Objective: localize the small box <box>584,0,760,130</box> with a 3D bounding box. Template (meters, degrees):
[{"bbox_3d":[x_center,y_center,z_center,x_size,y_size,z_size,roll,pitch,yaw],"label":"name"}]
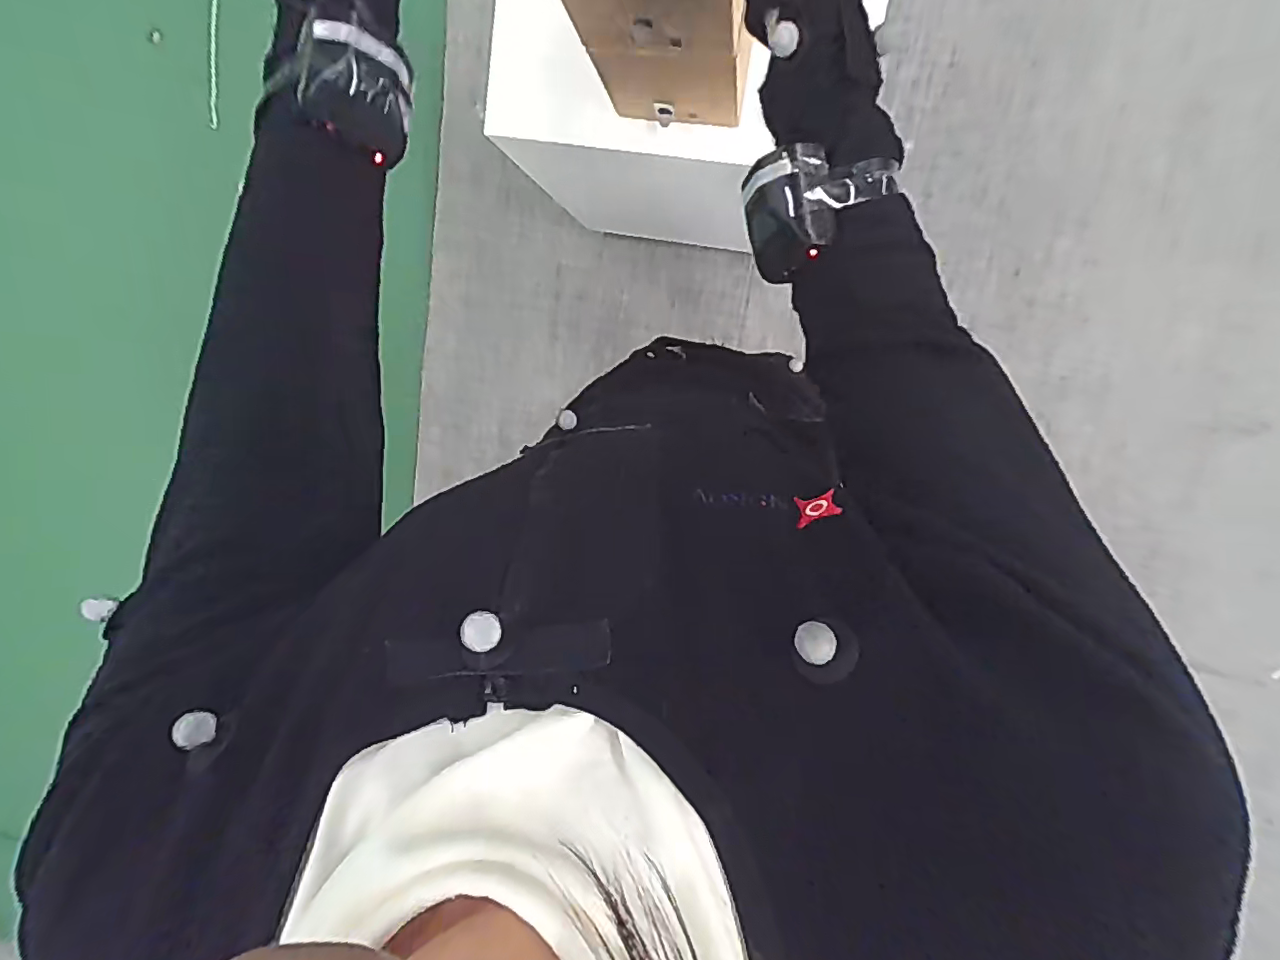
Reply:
[{"bbox_3d":[0.046,-0.539,0.622,0.168,0.176,0.179,10,104,10],"label":"small box"}]

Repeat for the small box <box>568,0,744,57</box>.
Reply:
[{"bbox_3d":[0.013,-0.512,0.464,0.168,0.176,0.179,8,101,10],"label":"small box"}]
